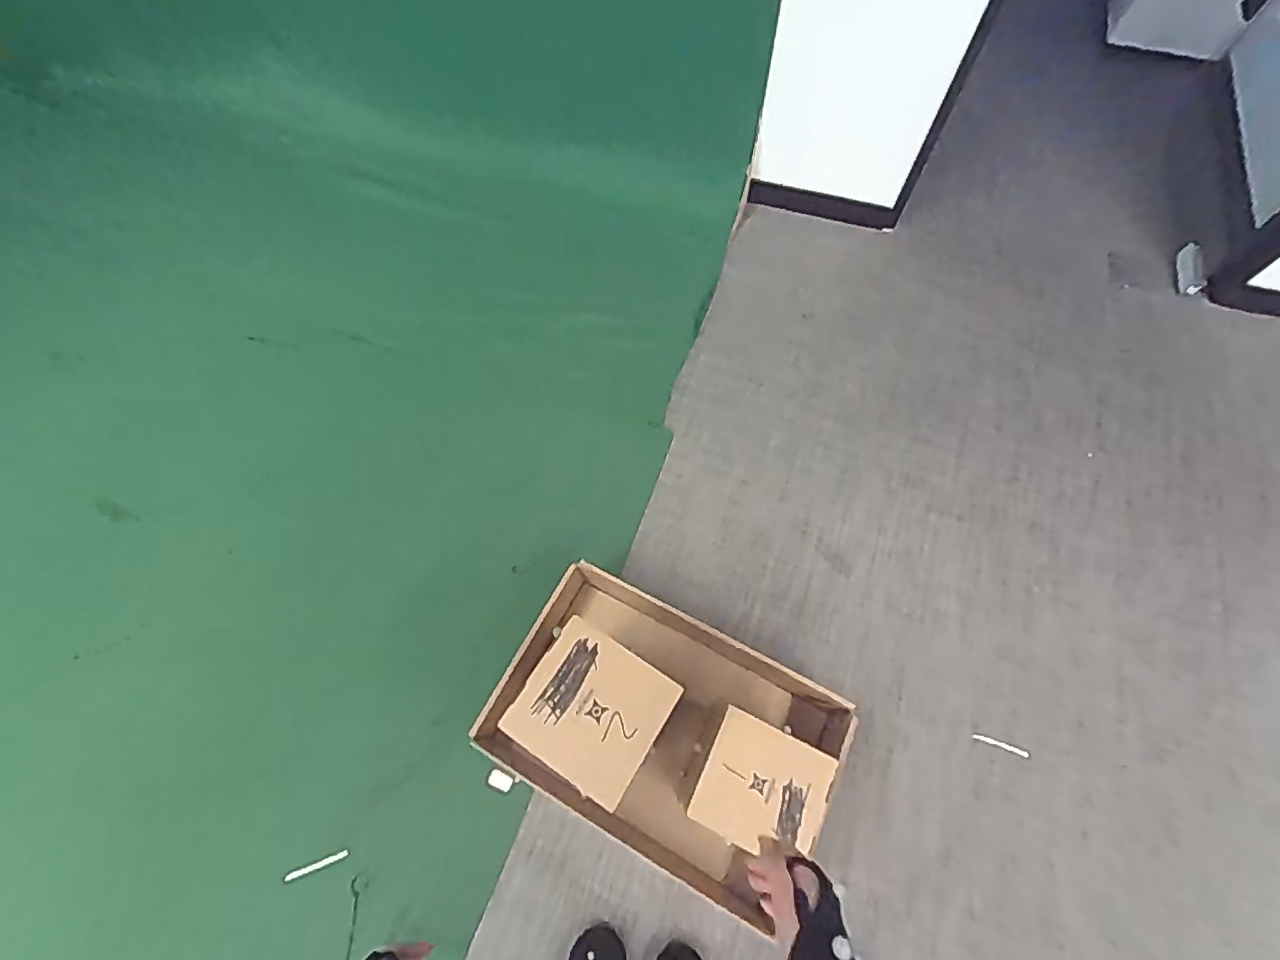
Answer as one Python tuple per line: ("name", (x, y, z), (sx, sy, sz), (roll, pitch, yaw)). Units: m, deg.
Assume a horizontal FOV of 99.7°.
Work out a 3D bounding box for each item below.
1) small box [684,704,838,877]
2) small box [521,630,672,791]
("small box", (0.180, 0.470, 0.848), (0.179, 0.176, 0.168), (23, 69, 13))
("small box", (-0.068, 0.379, 0.899), (0.179, 0.176, 0.168), (36, 71, 13))
